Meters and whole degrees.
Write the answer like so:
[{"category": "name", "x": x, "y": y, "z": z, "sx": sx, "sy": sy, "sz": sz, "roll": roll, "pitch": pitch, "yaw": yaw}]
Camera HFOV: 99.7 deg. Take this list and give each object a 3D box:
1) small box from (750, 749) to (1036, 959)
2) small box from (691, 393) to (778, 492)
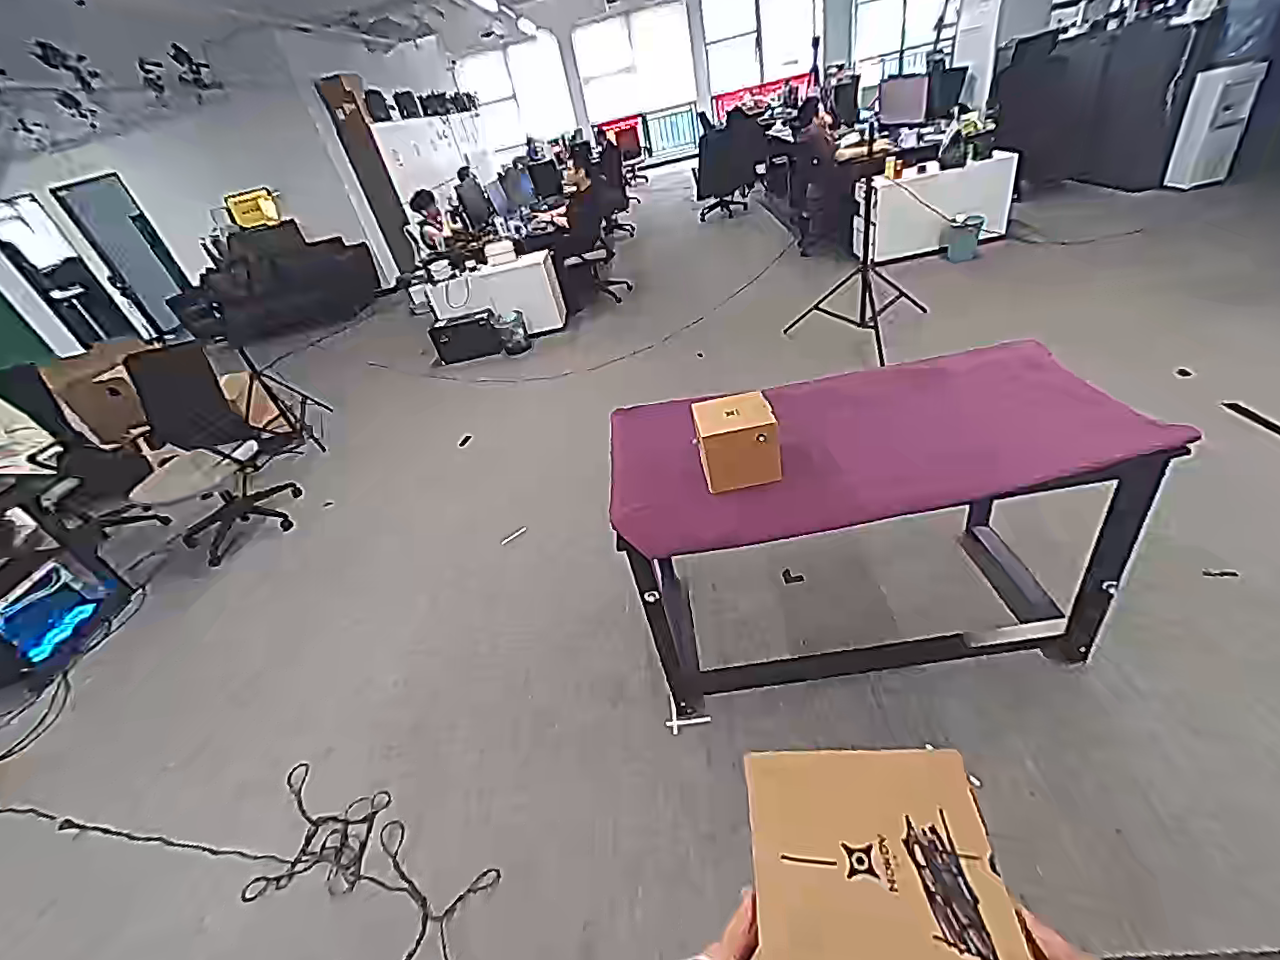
[{"category": "small box", "x": 0.188, "y": 0.344, "z": 0.447, "sx": 0.179, "sy": 0.176, "sz": 0.168, "roll": -6, "pitch": 37, "yaw": 11}, {"category": "small box", "x": 0.232, "y": -0.090, "z": 1.328, "sx": 0.179, "sy": 0.176, "sz": 0.168, "roll": -11, "pitch": 35, "yaw": 3}]
